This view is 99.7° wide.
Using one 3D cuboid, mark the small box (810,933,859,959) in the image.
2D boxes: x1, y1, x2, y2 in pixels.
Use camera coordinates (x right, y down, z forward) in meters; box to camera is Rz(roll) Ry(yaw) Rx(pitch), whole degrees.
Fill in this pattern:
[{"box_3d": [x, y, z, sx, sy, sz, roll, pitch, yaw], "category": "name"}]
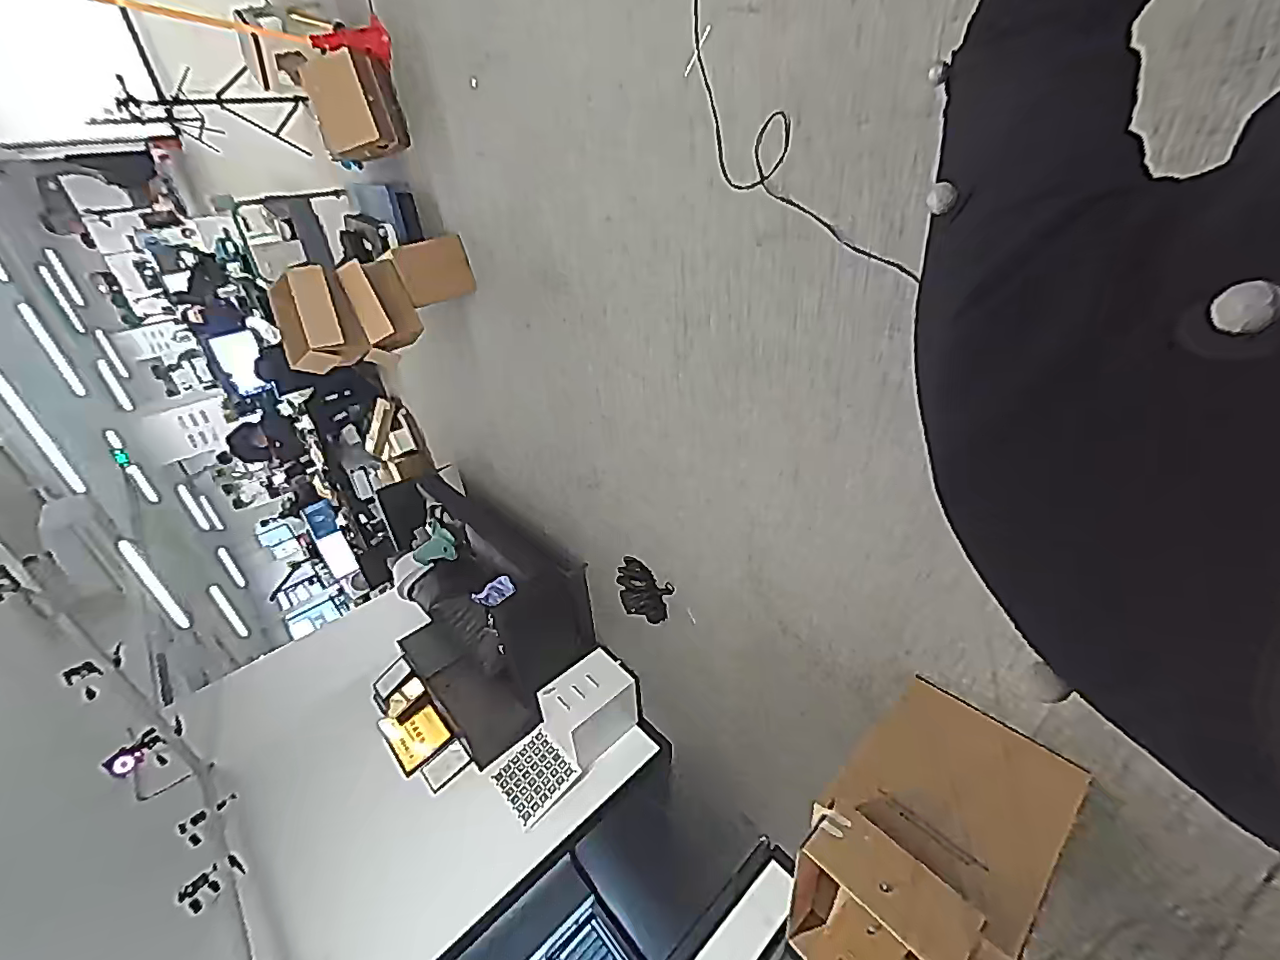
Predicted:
[{"box_3d": [0.498, 1.310, 1.359, 0.168, 0.176, 0.179, 24, 132, 43], "category": "small box"}]
